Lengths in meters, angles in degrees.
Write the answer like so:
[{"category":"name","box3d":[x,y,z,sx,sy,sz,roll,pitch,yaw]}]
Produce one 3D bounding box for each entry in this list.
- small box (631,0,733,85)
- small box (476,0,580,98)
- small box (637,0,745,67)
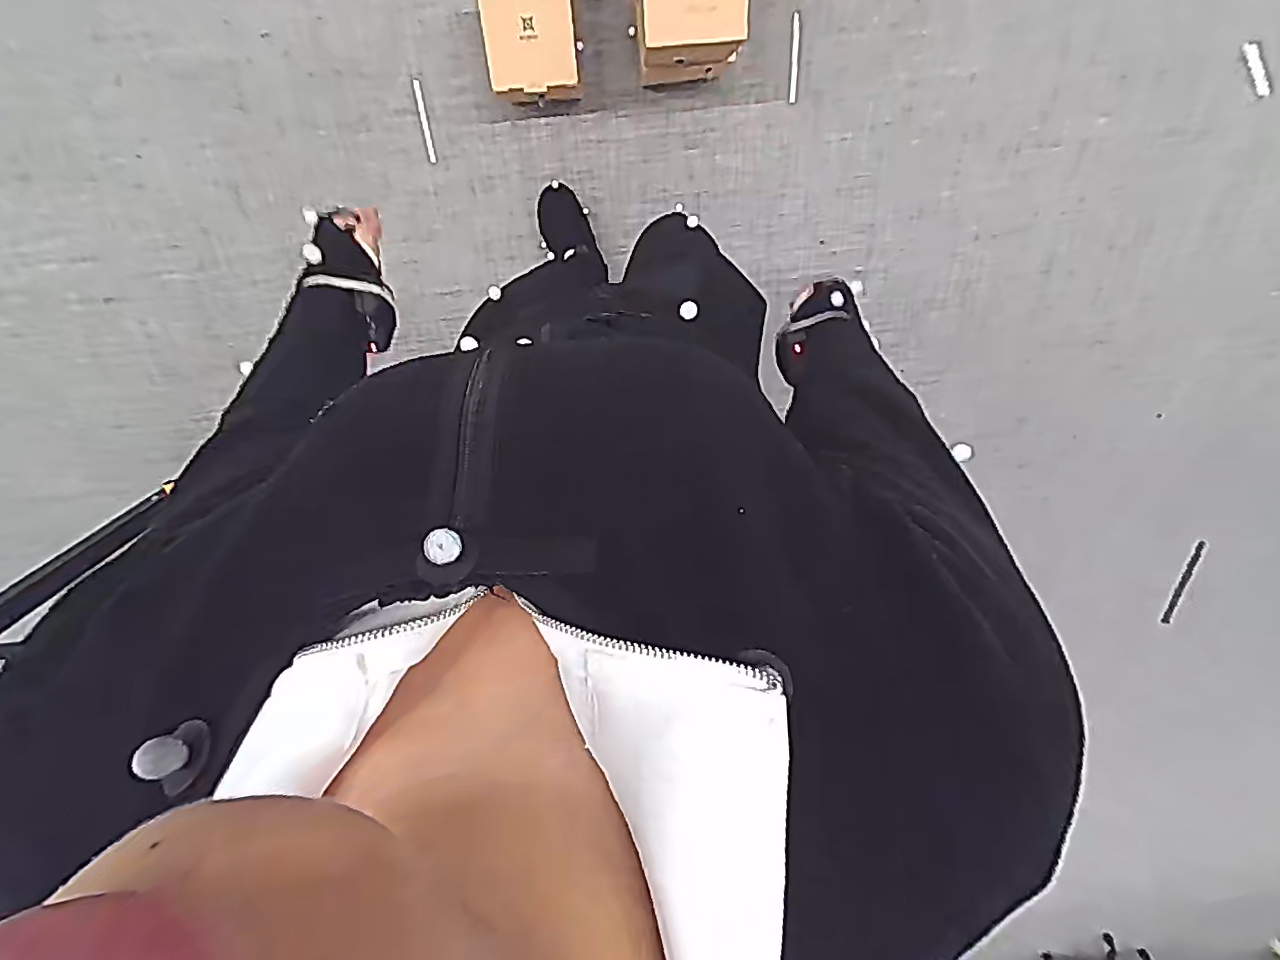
[{"category":"small box","box3d":[0.077,-0.883,1.046,0.179,0.176,0.168,-6,119,0]},{"category":"small box","box3d":[-0.209,-0.854,1.049,0.168,0.176,0.179,-3,120,0]},{"category":"small box","box3d":[0.079,-0.814,0.899,0.168,0.176,0.179,-4,120,0]}]
